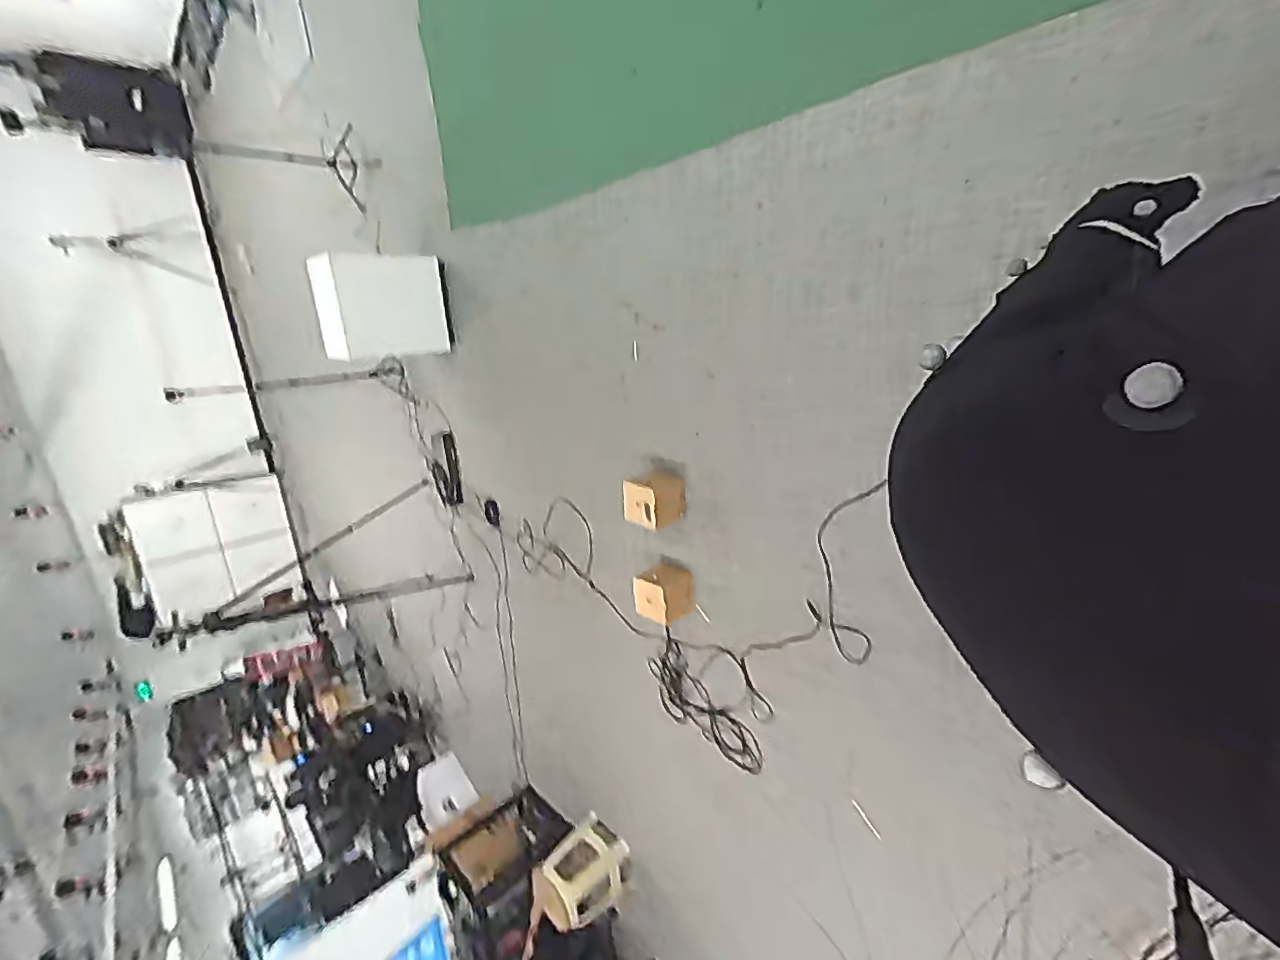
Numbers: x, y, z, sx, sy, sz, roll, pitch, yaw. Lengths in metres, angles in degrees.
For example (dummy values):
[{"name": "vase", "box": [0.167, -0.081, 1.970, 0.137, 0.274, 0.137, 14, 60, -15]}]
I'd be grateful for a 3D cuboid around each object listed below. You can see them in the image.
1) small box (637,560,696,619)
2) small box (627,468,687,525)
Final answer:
[{"name": "small box", "box": [0.109, 0.446, 2.234, 0.179, 0.176, 0.168, 10, 112, 45]}, {"name": "small box", "box": [0.071, 0.058, 2.131, 0.179, 0.176, 0.168, 17, 117, 44]}]
